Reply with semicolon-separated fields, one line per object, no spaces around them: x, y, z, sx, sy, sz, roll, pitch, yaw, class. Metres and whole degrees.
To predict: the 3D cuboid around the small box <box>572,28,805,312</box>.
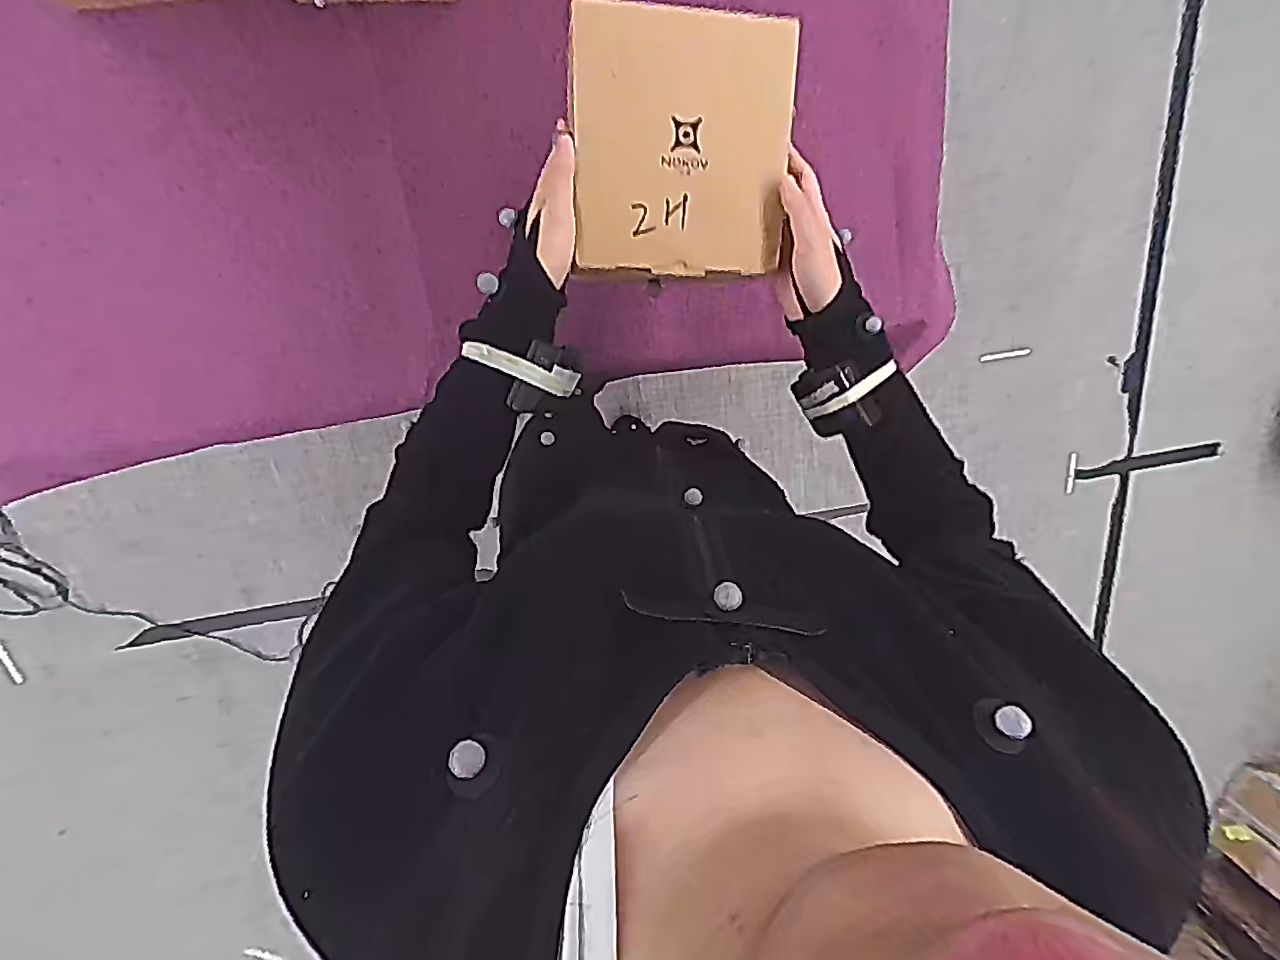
0.027;-0.252;0.490;0.168;0.176;0.179;3;106;-8;small box
